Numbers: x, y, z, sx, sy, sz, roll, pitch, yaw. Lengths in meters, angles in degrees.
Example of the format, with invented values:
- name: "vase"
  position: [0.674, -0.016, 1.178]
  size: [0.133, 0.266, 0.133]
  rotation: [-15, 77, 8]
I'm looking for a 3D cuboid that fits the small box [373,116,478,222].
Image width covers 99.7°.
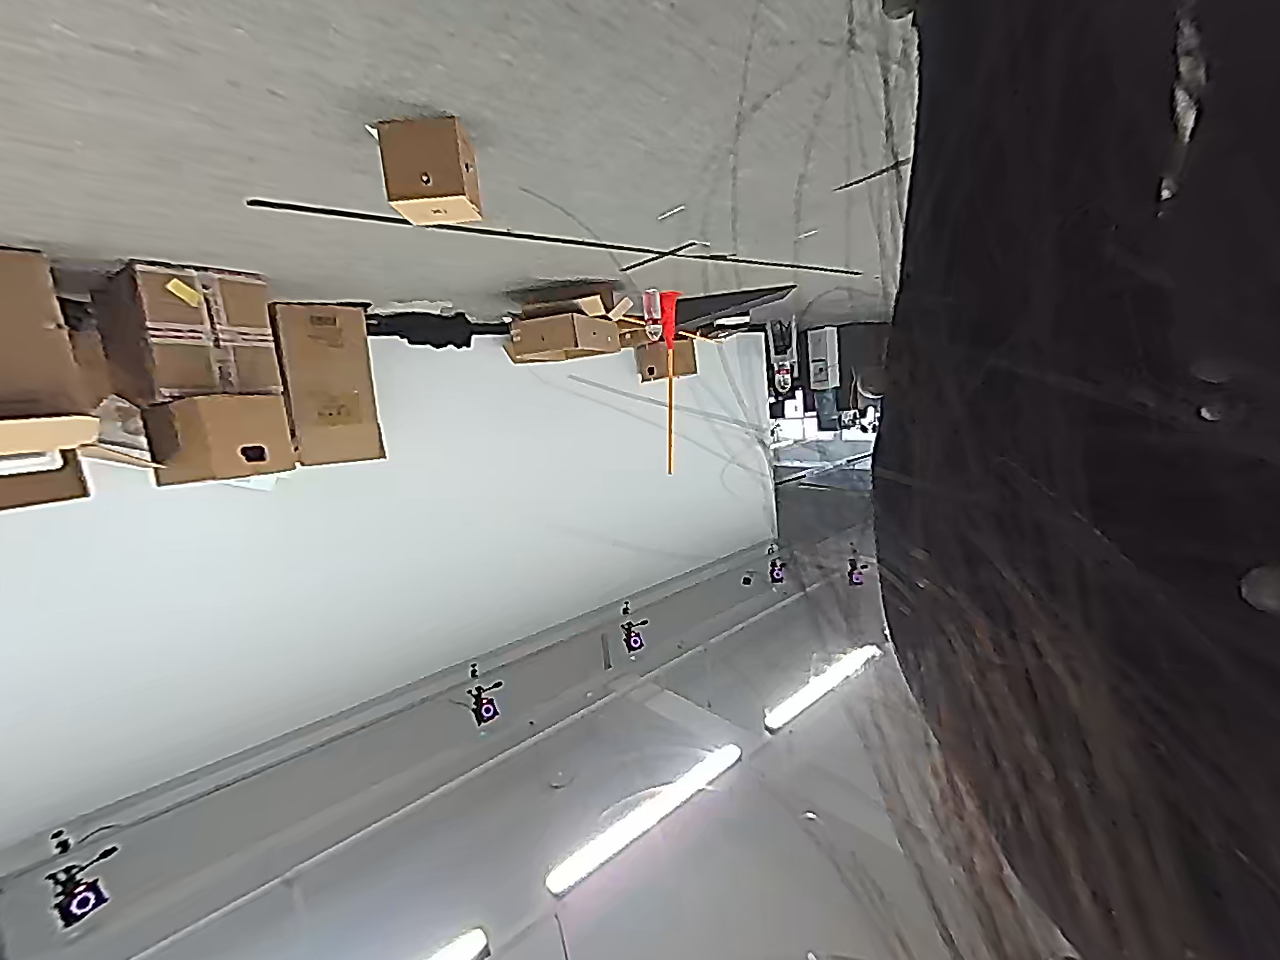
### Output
- name: "small box"
  position: [-0.492, -0.719, 1.257]
  size: [0.179, 0.176, 0.168]
  rotation: [-5, -172, -2]
